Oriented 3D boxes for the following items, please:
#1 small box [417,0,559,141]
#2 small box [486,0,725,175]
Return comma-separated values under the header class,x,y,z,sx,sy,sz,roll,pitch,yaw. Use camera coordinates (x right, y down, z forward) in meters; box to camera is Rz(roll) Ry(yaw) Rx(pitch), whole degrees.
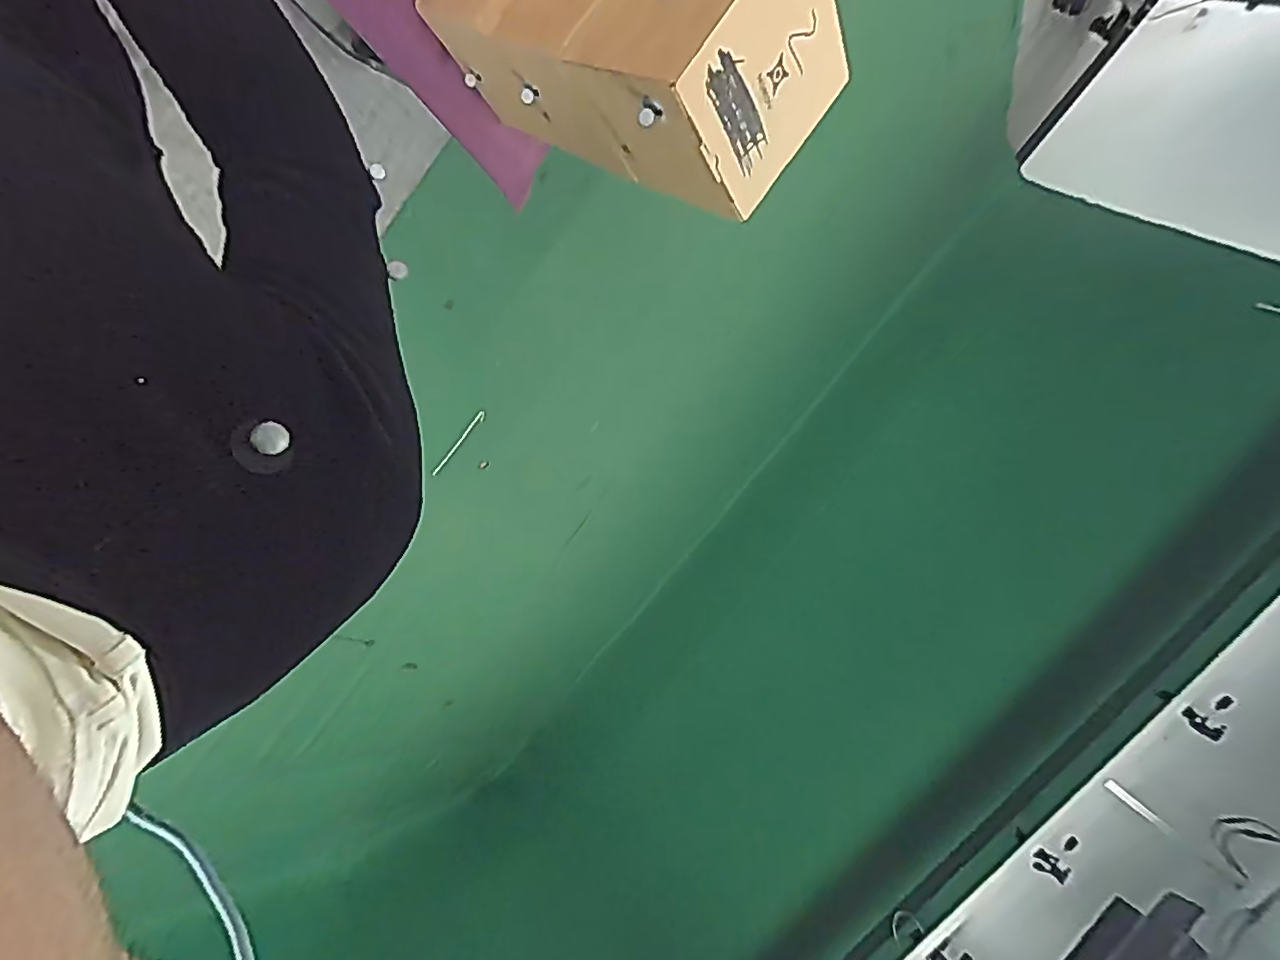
class,x,y,z,sx,sy,sz,roll,pitch,yaw
small box,-0.146,-0.591,0.695,0.168,0.176,0.179,-50,150,4
small box,-0.039,-0.498,0.613,0.179,0.176,0.168,-50,148,4
